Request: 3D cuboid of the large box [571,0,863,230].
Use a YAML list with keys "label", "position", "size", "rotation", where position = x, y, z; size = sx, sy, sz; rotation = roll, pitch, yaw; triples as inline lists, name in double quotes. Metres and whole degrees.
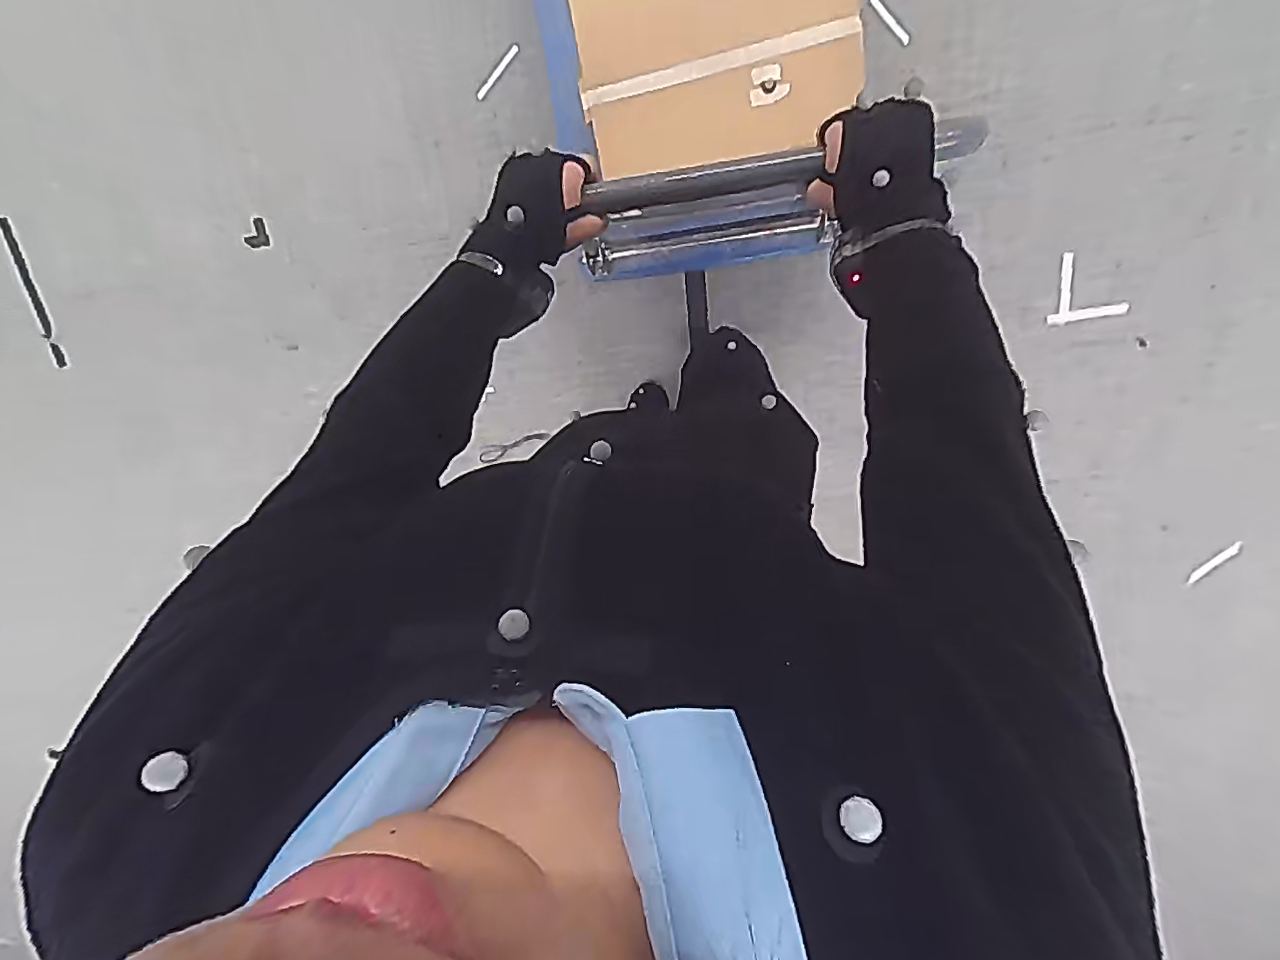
- label: "large box"
  position: [0.130, -0.666, 0.954]
  size: [0.408, 0.320, 0.320]
  rotation: [-9, 108, 8]
